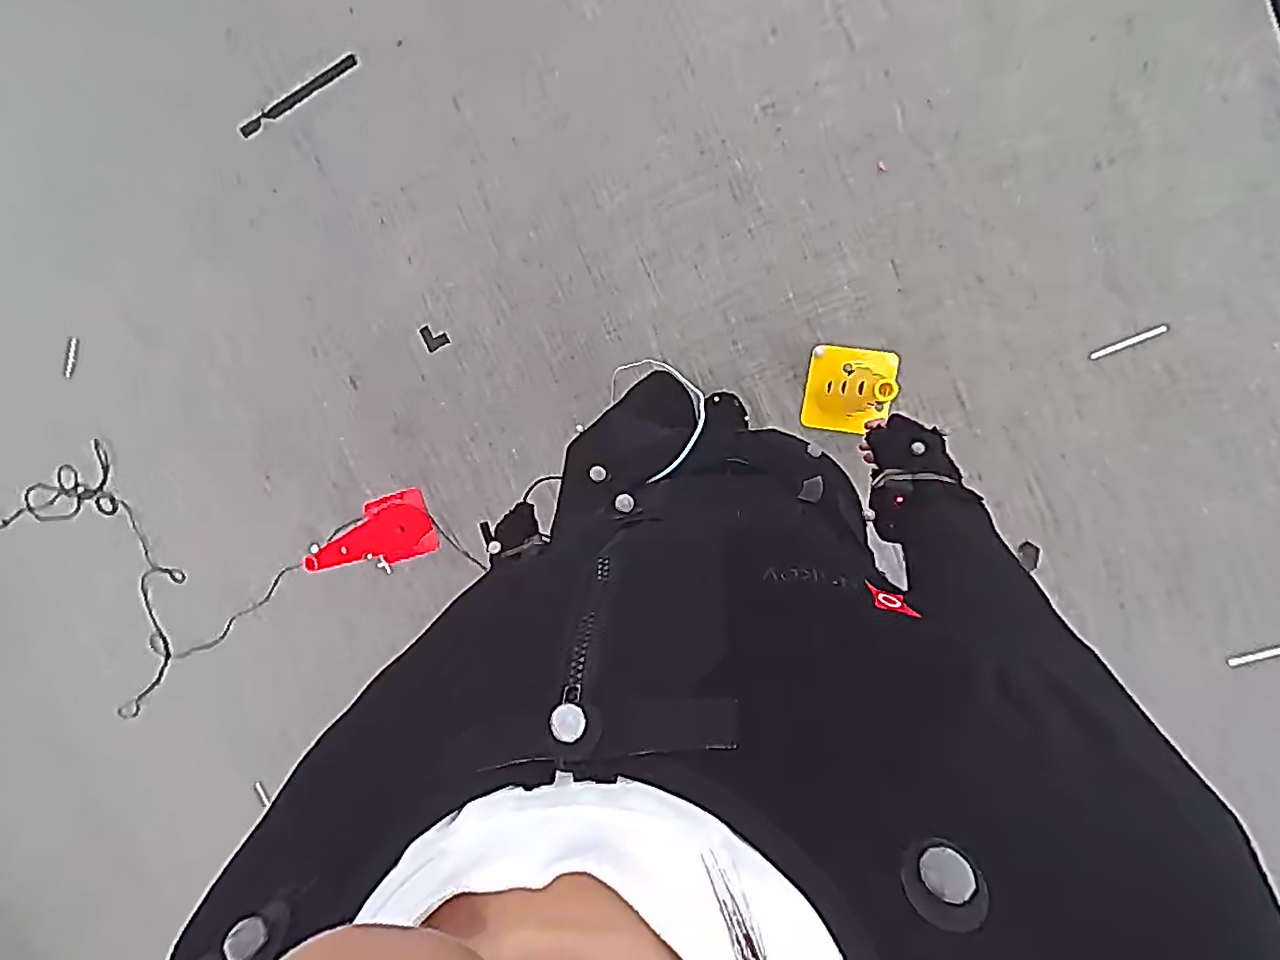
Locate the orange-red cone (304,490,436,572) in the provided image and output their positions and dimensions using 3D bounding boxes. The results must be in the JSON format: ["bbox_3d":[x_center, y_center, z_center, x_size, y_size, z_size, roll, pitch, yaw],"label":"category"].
[{"bbox_3d":[-0.740,0.167,1.434,0.199,0.360,0.198,-16,97,12],"label":"orange-red cone"}]
